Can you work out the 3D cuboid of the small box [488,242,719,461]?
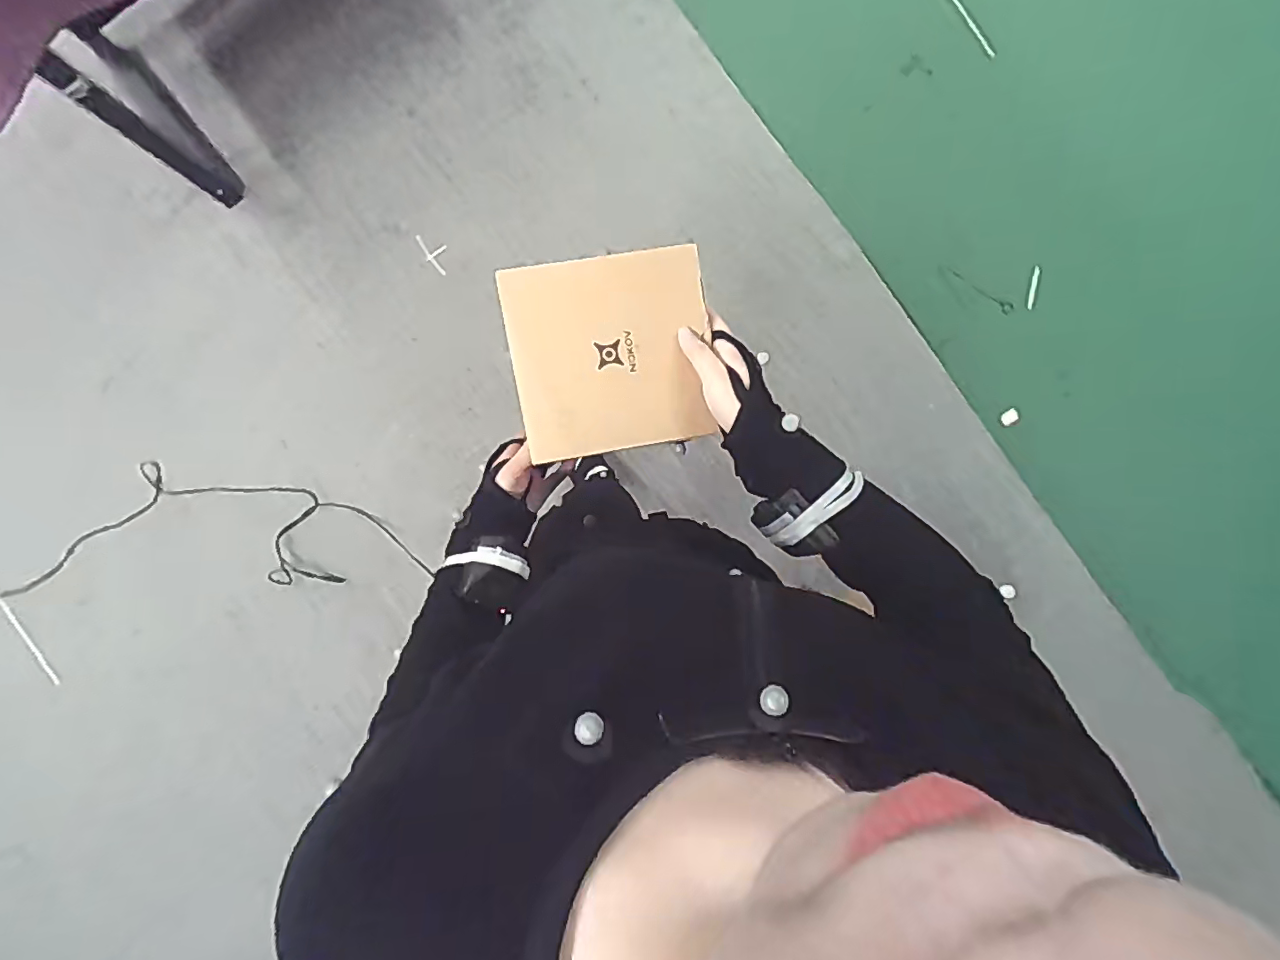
[{"bbox_3d":[-0.036,-0.114,0.540,0.179,0.176,0.168,-11,95,-5],"label":"small box"}]
